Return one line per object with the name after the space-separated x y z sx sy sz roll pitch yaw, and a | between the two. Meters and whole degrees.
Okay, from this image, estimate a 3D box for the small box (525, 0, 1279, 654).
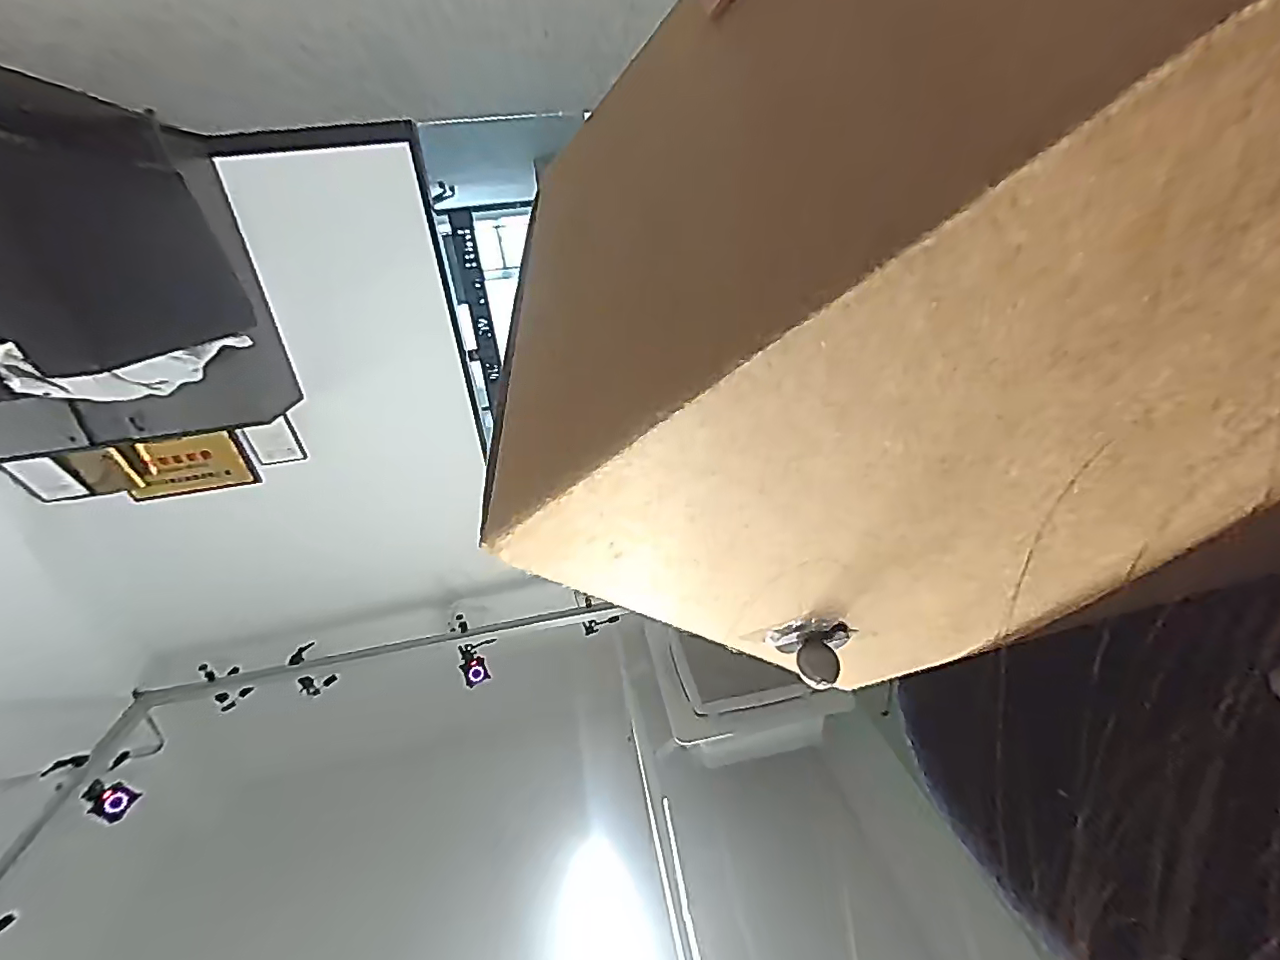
0.084 -0.064 0.179 0.176 0.168 0.179 -33 -137 34 | small box
